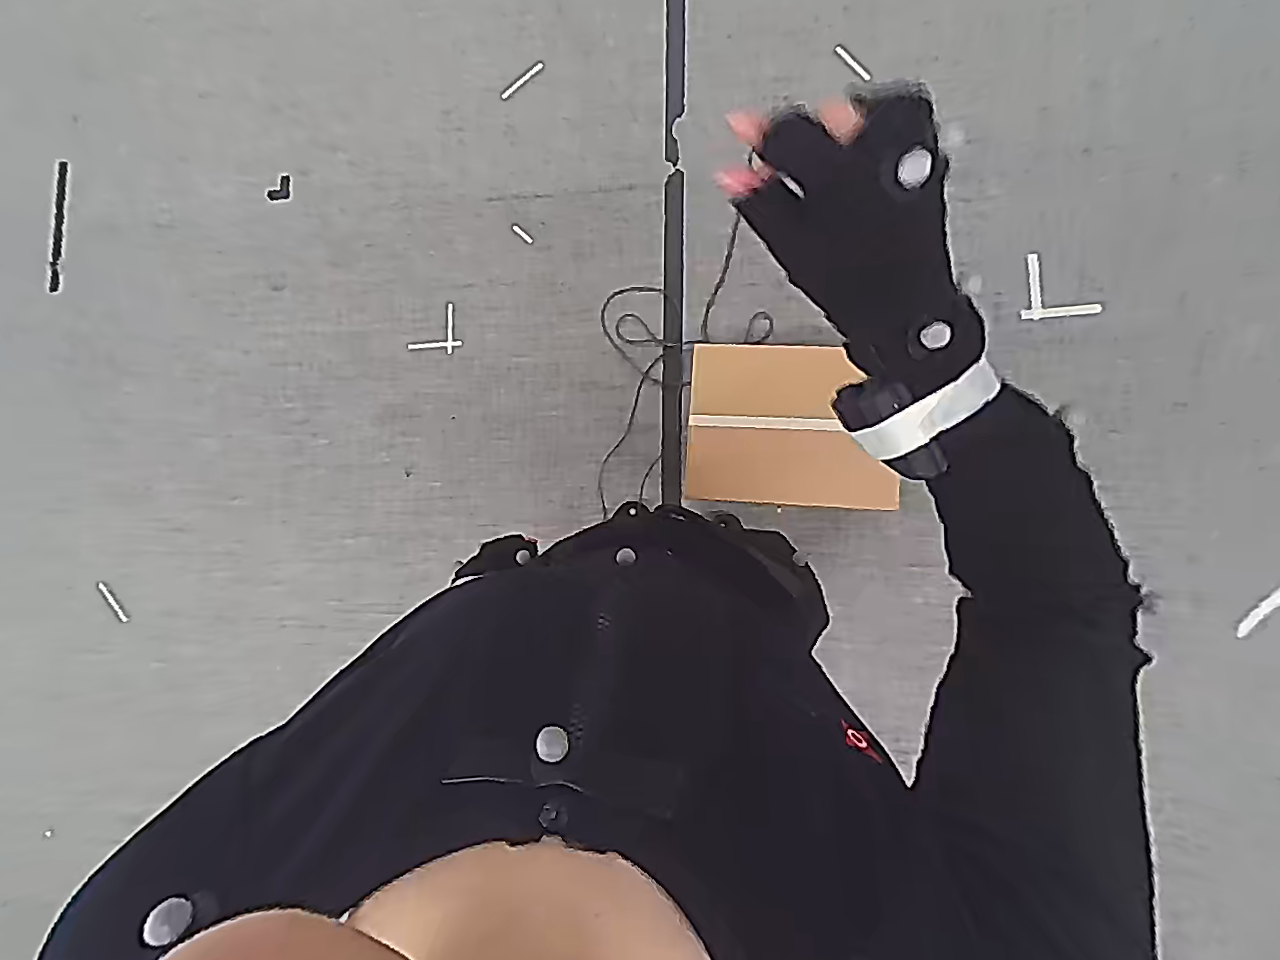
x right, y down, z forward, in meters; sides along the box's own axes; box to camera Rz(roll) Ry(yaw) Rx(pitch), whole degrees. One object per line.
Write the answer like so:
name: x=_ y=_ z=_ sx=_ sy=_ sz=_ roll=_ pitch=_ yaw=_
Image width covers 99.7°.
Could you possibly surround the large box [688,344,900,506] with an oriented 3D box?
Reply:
large box: x=0.316 y=-0.105 z=1.209 sx=0.408 sy=0.320 sz=0.320 roll=3 pitch=89 yaw=7
